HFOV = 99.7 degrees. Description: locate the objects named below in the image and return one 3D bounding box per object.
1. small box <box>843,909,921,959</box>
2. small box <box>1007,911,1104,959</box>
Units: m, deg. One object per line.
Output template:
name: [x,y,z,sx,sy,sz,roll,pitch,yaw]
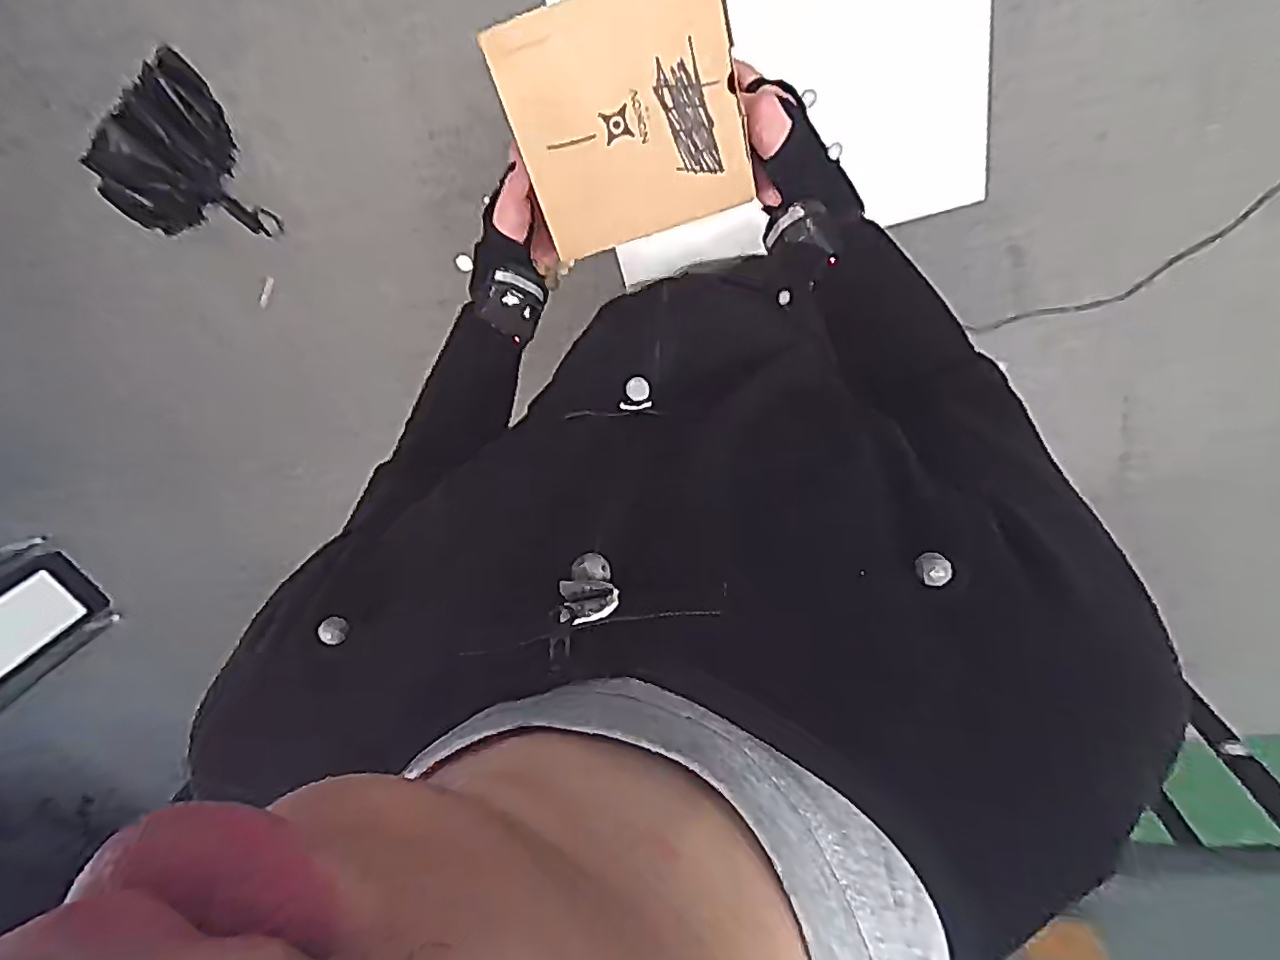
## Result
small box: [0.679,1.331,1.506,0.179,0.176,0.168,-5,120,9]
small box: [1.102,1.264,1.416,0.179,0.176,0.168,-10,119,14]
